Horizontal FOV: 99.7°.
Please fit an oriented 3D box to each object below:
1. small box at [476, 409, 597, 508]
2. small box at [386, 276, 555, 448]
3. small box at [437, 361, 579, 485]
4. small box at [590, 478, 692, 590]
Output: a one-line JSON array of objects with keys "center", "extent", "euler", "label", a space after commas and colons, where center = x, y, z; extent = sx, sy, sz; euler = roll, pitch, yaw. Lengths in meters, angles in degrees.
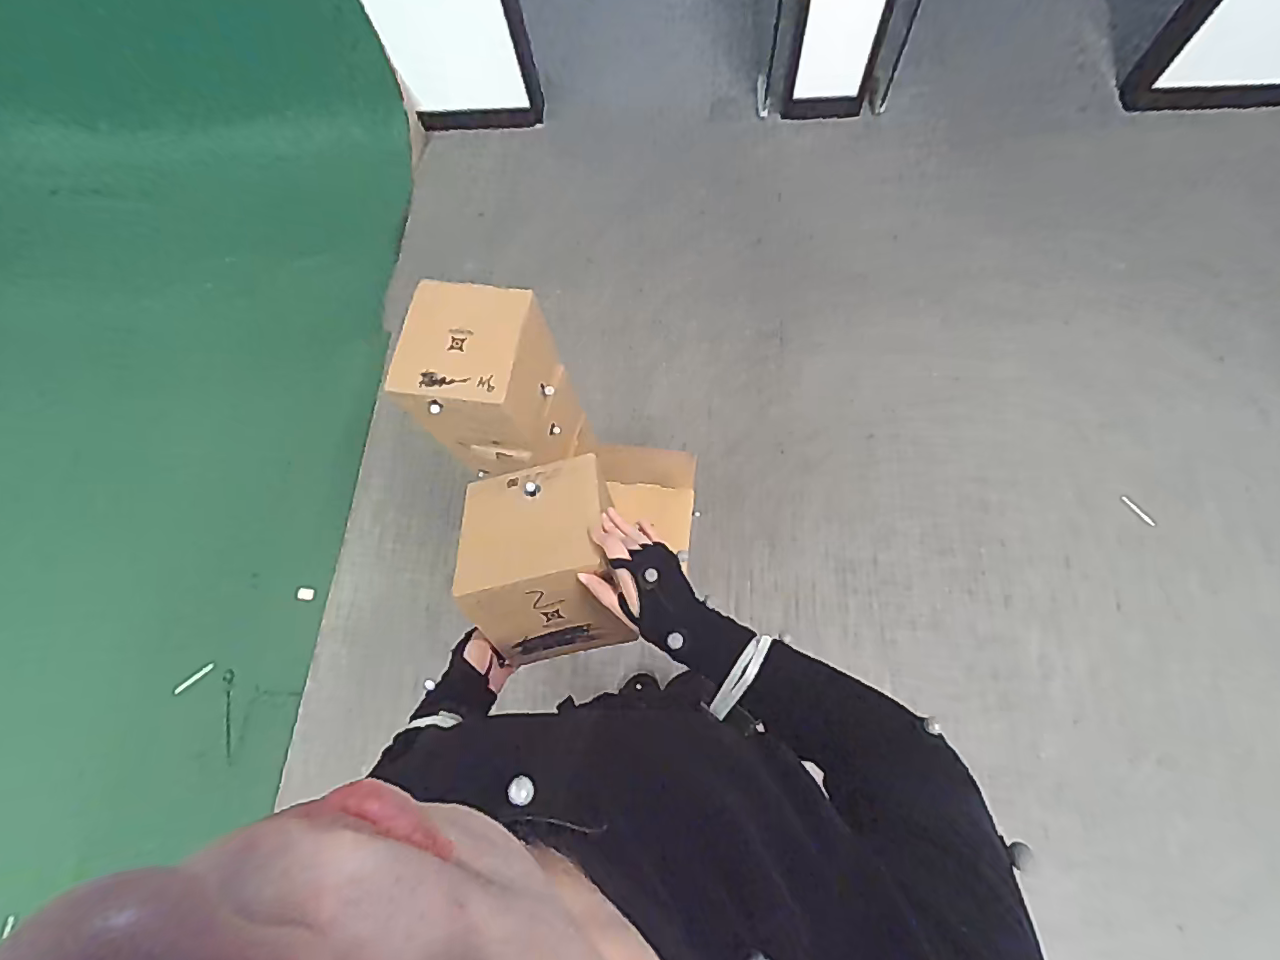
[{"center": [-0.201, -0.053, 1.102], "extent": [0.179, 0.176, 0.168], "euler": [13, 74, 8], "label": "small box"}, {"center": [-0.232, -0.166, 0.793], "extent": [0.168, 0.176, 0.179], "euler": [8, 72, 7], "label": "small box"}, {"center": [-0.217, -0.107, 0.947], "extent": [0.168, 0.176, 0.179], "euler": [15, 72, 9], "label": "small box"}, {"center": [0.009, 0.109, 1.032], "extent": [0.168, 0.176, 0.179], "euler": [5, 73, 6], "label": "small box"}]
